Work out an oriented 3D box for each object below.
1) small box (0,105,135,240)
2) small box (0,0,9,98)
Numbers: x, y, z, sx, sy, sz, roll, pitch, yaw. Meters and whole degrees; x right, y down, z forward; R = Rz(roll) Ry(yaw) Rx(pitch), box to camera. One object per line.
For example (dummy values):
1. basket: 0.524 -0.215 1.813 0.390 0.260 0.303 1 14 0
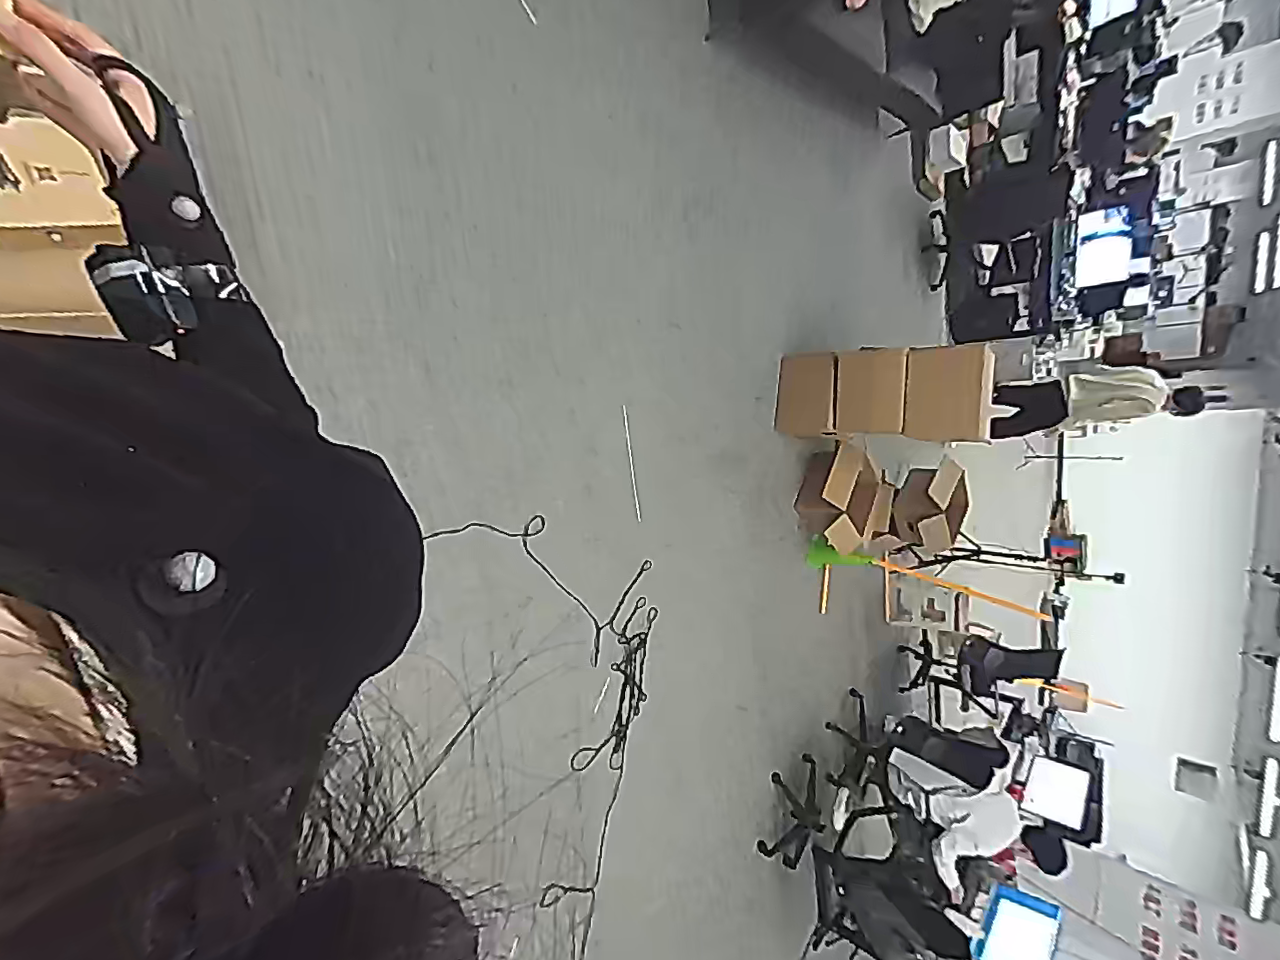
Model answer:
1. small box: -1.032 -0.529 0.948 0.179 0.176 0.168 -26 113 -40
2. small box: -0.499 -0.362 0.314 0.168 0.176 0.179 -7 105 -51
